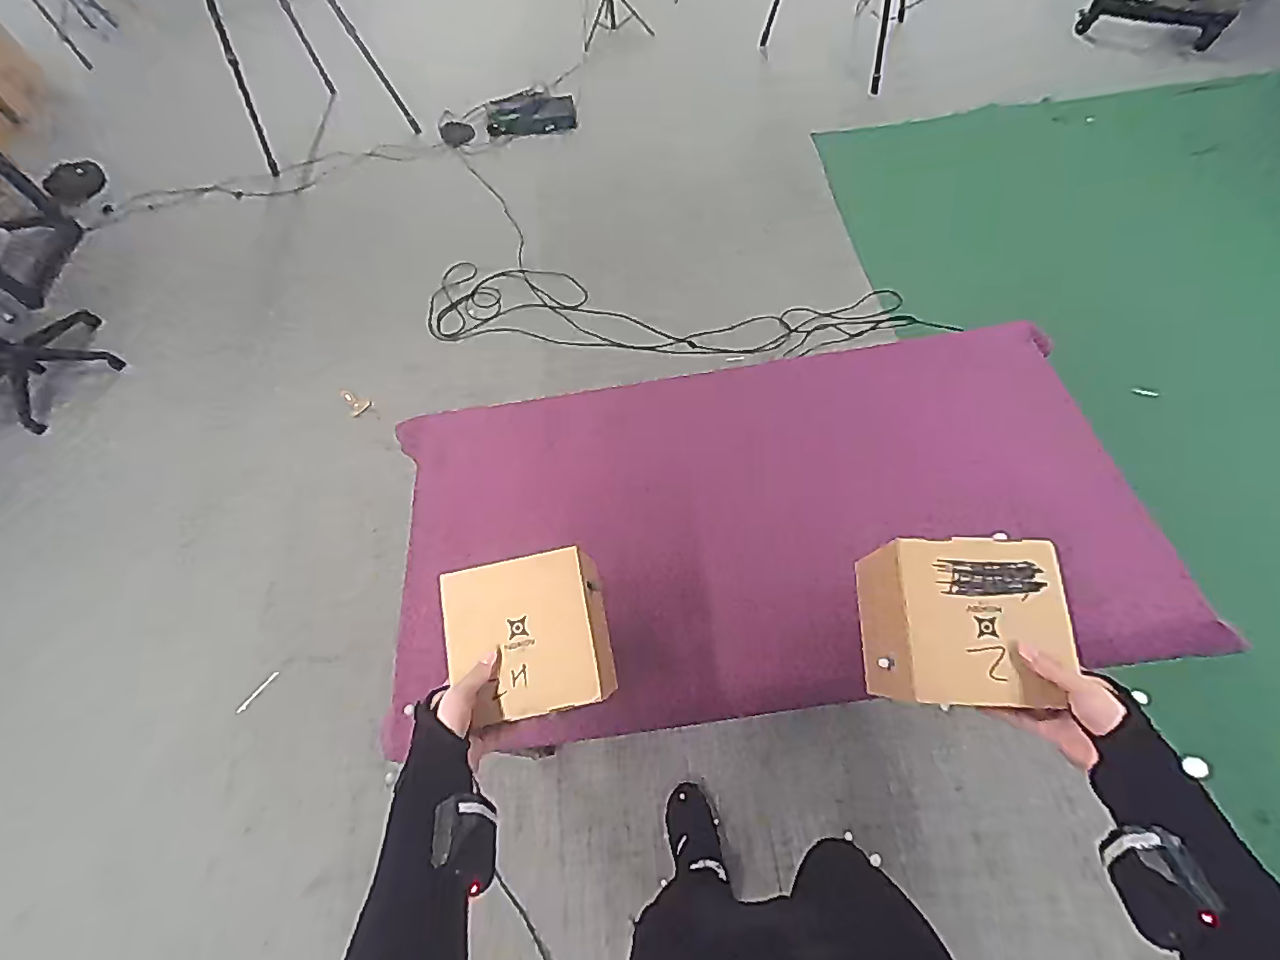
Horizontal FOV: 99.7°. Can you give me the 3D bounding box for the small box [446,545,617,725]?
[{"bbox_3d":[-0.130,0.197,0.691,0.168,0.176,0.179,-12,73,1],"label":"small box"}]
